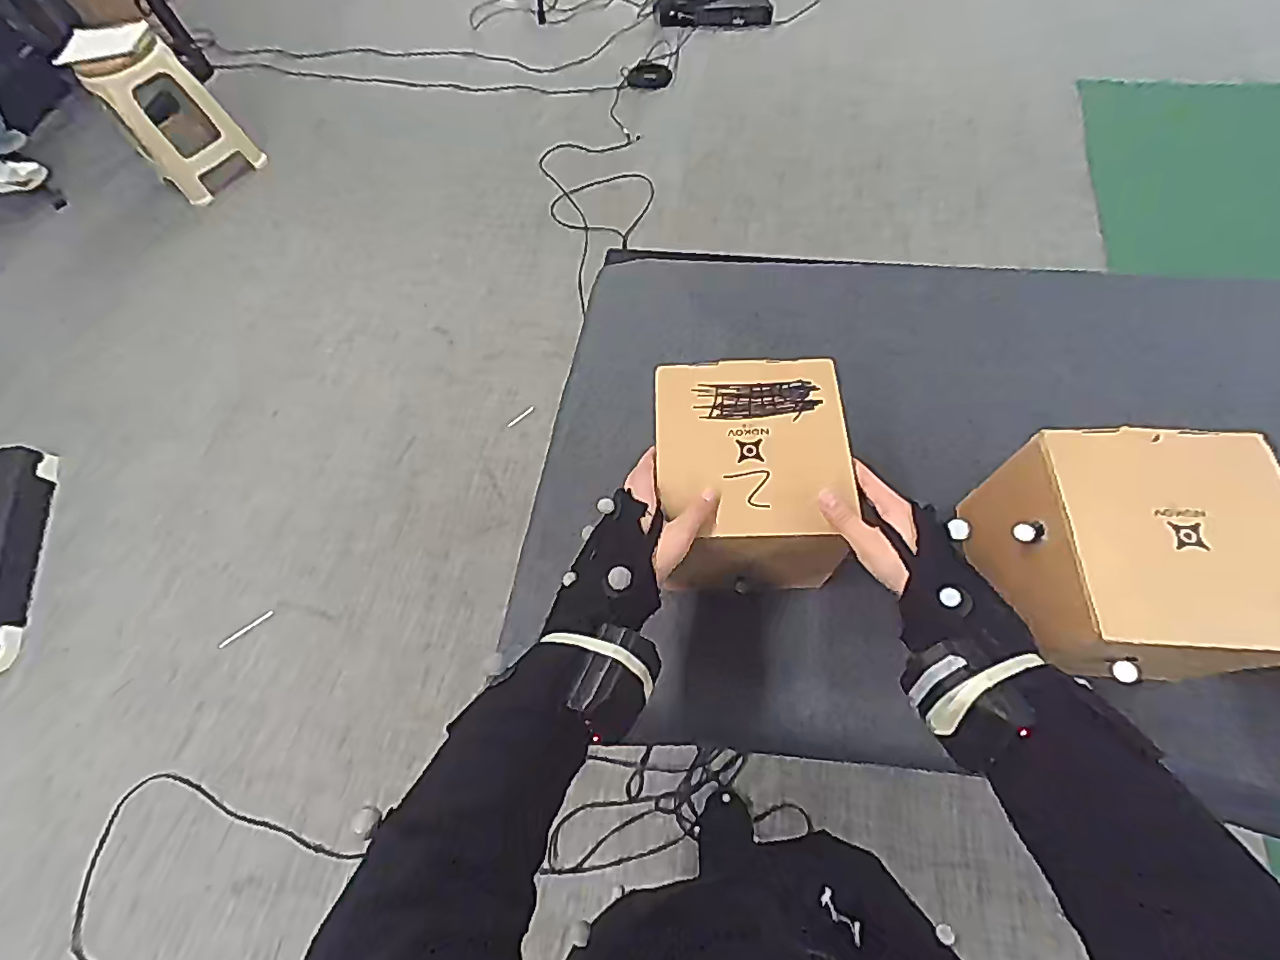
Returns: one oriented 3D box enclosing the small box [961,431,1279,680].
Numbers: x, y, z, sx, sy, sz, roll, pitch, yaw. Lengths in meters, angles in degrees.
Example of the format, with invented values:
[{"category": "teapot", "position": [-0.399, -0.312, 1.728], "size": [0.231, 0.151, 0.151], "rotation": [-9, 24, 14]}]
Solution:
[{"category": "small box", "position": [0.415, 0.074, 0.476], "size": [0.168, 0.176, 0.179], "rotation": [2, 63, 6]}]
